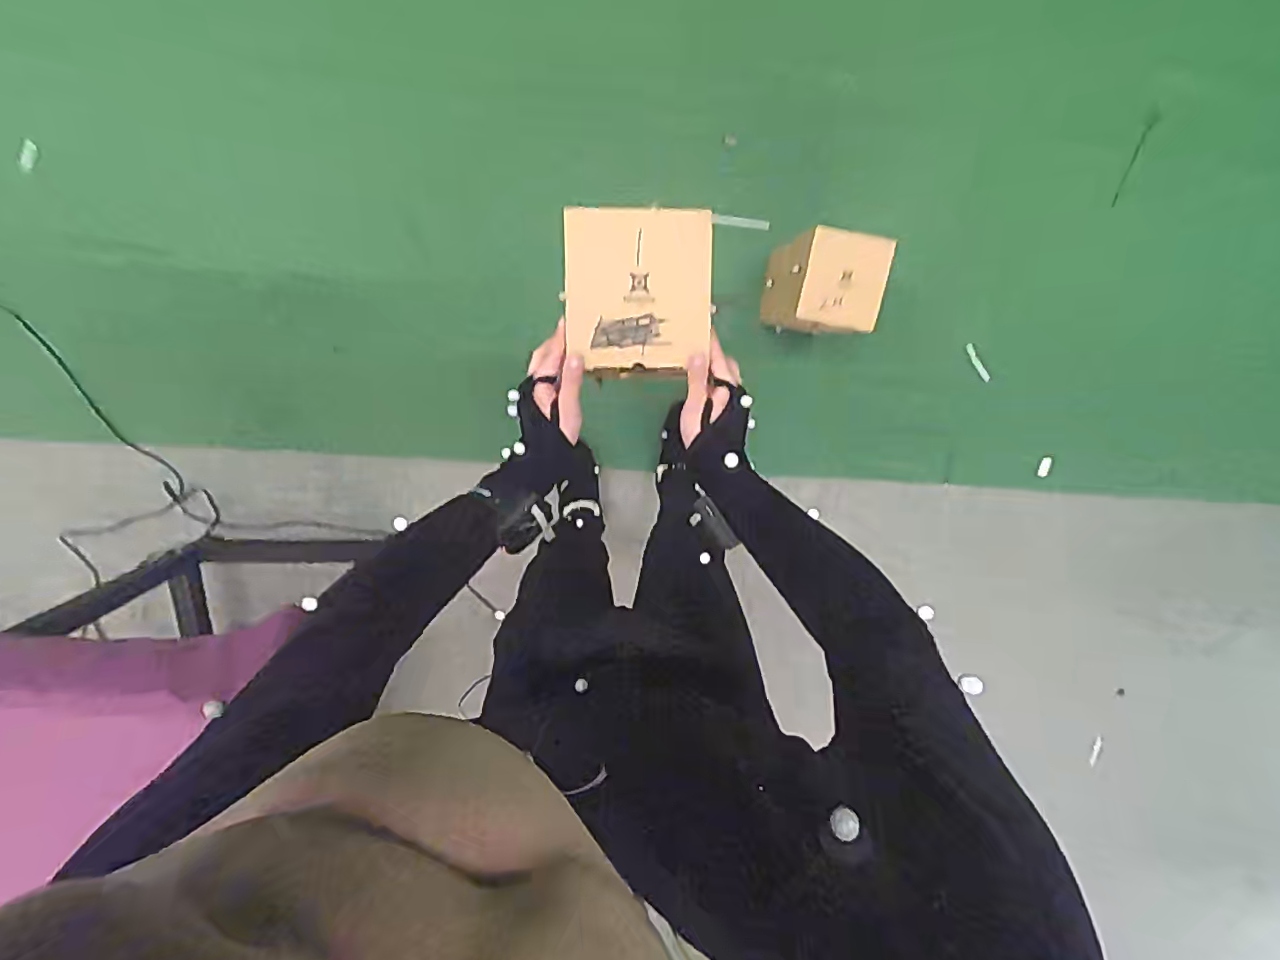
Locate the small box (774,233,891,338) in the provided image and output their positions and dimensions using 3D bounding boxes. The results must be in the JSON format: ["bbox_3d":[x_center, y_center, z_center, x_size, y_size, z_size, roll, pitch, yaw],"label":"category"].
[{"bbox_3d":[0.401,-0.407,1.158,0.168,0.176,0.179,9,104,-4],"label":"small box"}]

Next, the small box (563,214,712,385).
[{"bbox_3d":[-0.005,-0.212,0.678,0.168,0.176,0.179,0,96,-2],"label":"small box"}]
